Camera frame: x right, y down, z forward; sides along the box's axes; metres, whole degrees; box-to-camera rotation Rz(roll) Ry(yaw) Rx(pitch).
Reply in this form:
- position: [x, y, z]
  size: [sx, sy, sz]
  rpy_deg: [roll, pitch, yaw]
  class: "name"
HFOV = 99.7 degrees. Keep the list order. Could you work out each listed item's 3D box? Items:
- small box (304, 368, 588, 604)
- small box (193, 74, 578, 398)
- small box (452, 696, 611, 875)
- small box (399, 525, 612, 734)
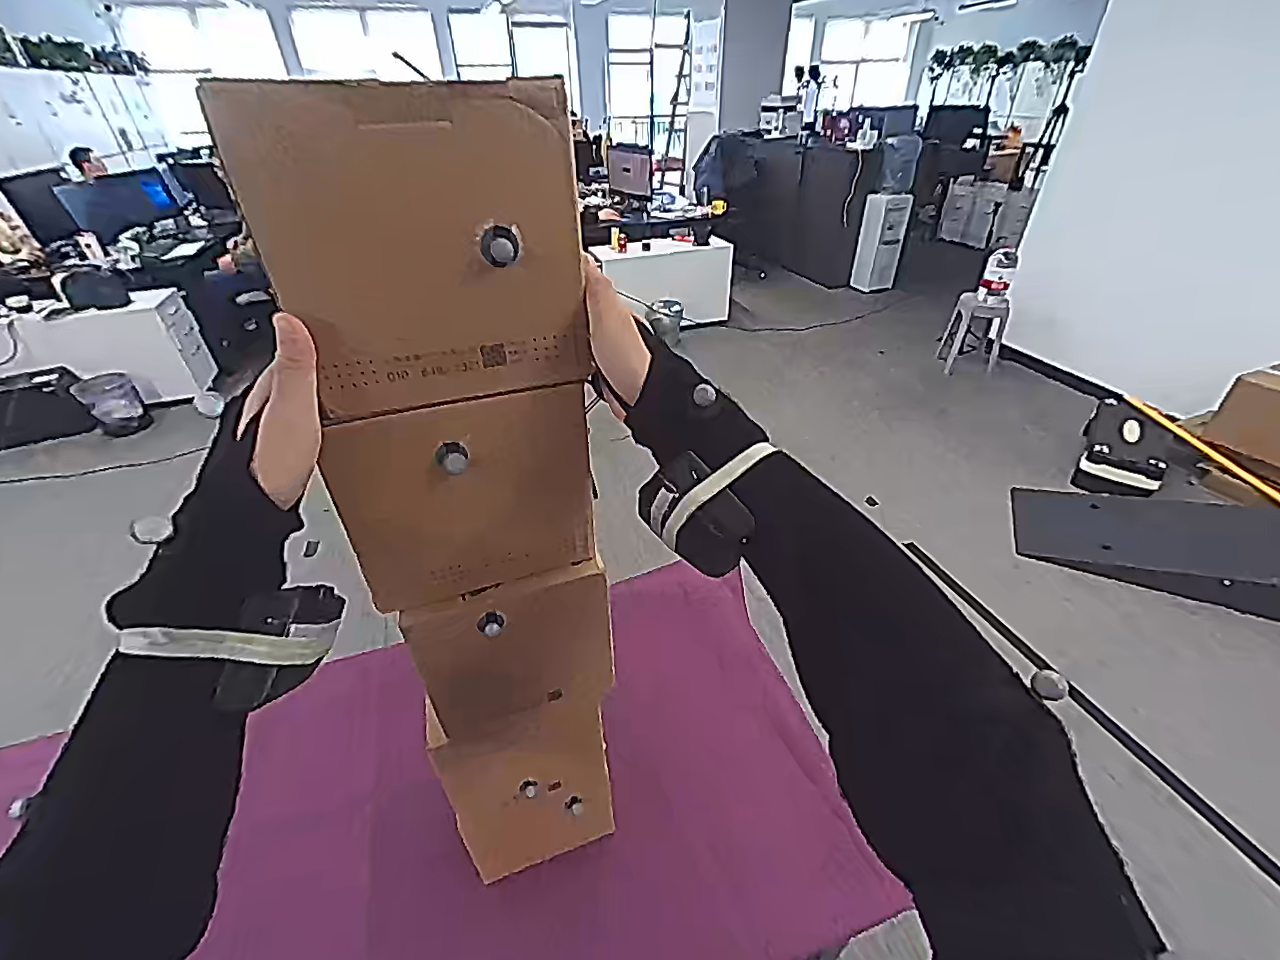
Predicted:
- position: [-0.146, -0.027, 0.452]
  size: [0.179, 0.176, 0.168]
  rpy_deg: [-14, 38, -16]
  class: "small box"
- position: [-0.143, -0.163, 0.364]
  size: [0.168, 0.176, 0.179]
  rpy_deg: [-11, 36, -15]
  class: "small box"
- position: [-0.143, 0.381, 0.724]
  size: [0.179, 0.176, 0.168]
  rpy_deg: [-14, 37, -15]
  class: "small box"
- position: [-0.132, 0.111, 0.539]
  size: [0.168, 0.176, 0.179]
  rpy_deg: [-13, 37, -16]
  class: "small box"
